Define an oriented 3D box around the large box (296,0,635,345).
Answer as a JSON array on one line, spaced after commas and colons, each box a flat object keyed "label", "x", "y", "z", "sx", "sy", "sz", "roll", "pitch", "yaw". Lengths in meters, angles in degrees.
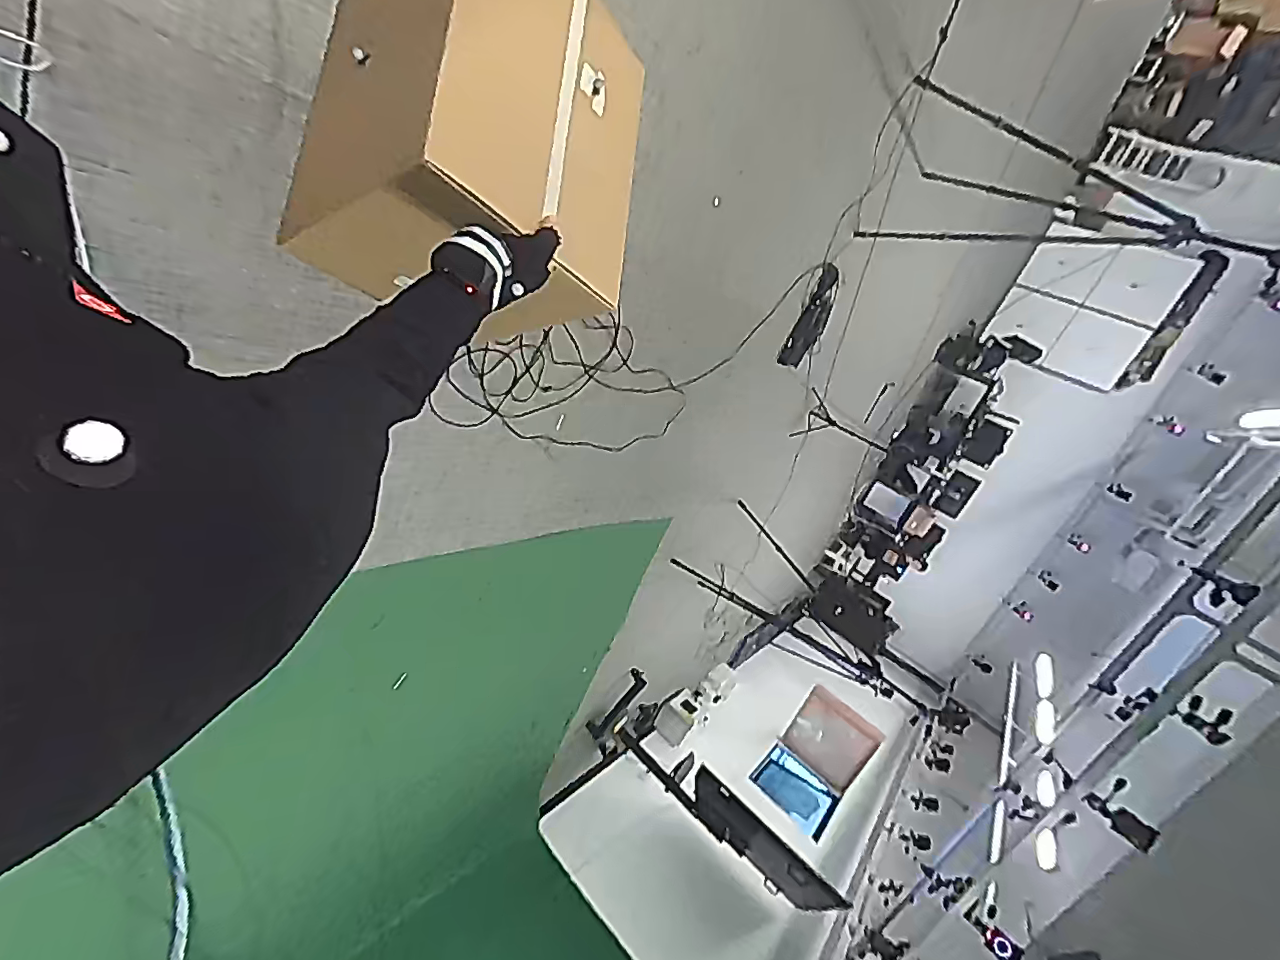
[{"label": "large box", "x": -0.230, "y": -0.458, "z": 0.769, "sx": 0.320, "sy": 0.320, "sz": 0.408, "roll": 20, "pitch": 71, "yaw": -53}]
